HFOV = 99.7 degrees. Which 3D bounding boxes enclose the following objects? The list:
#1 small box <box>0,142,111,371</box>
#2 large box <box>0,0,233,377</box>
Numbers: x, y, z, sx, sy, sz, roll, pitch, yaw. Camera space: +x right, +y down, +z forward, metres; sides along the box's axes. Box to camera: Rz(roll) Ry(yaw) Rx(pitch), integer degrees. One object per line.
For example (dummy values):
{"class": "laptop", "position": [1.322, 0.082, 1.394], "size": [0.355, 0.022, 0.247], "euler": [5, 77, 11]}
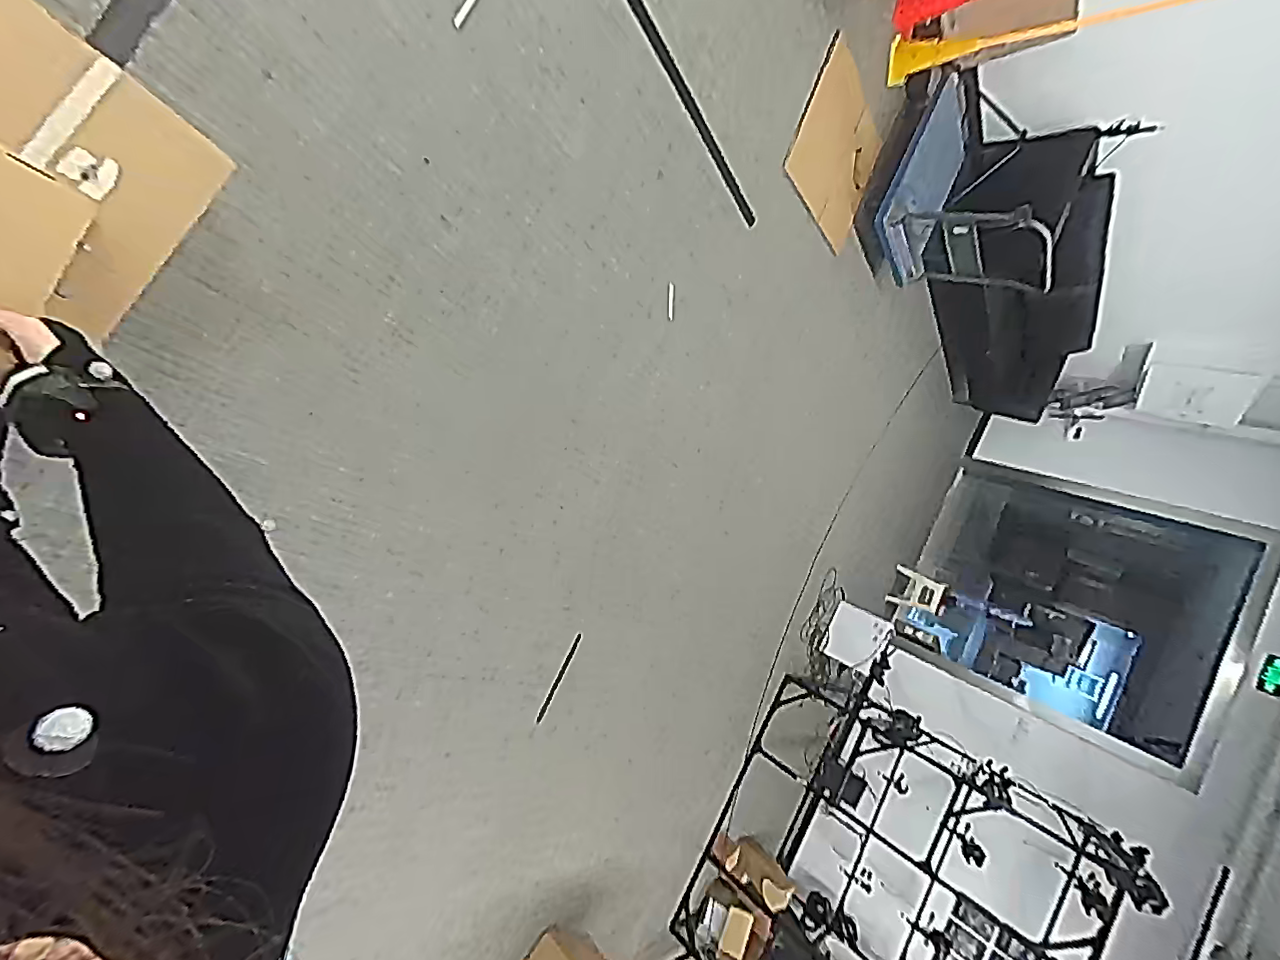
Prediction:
{"class": "small box", "position": [-0.621, -0.218, 0.475], "size": [0.168, 0.176, 0.179], "euler": [29, 81, -50]}
{"class": "large box", "position": [-0.886, -0.413, 0.766], "size": [0.320, 0.320, 0.408], "euler": [40, 76, -50]}
